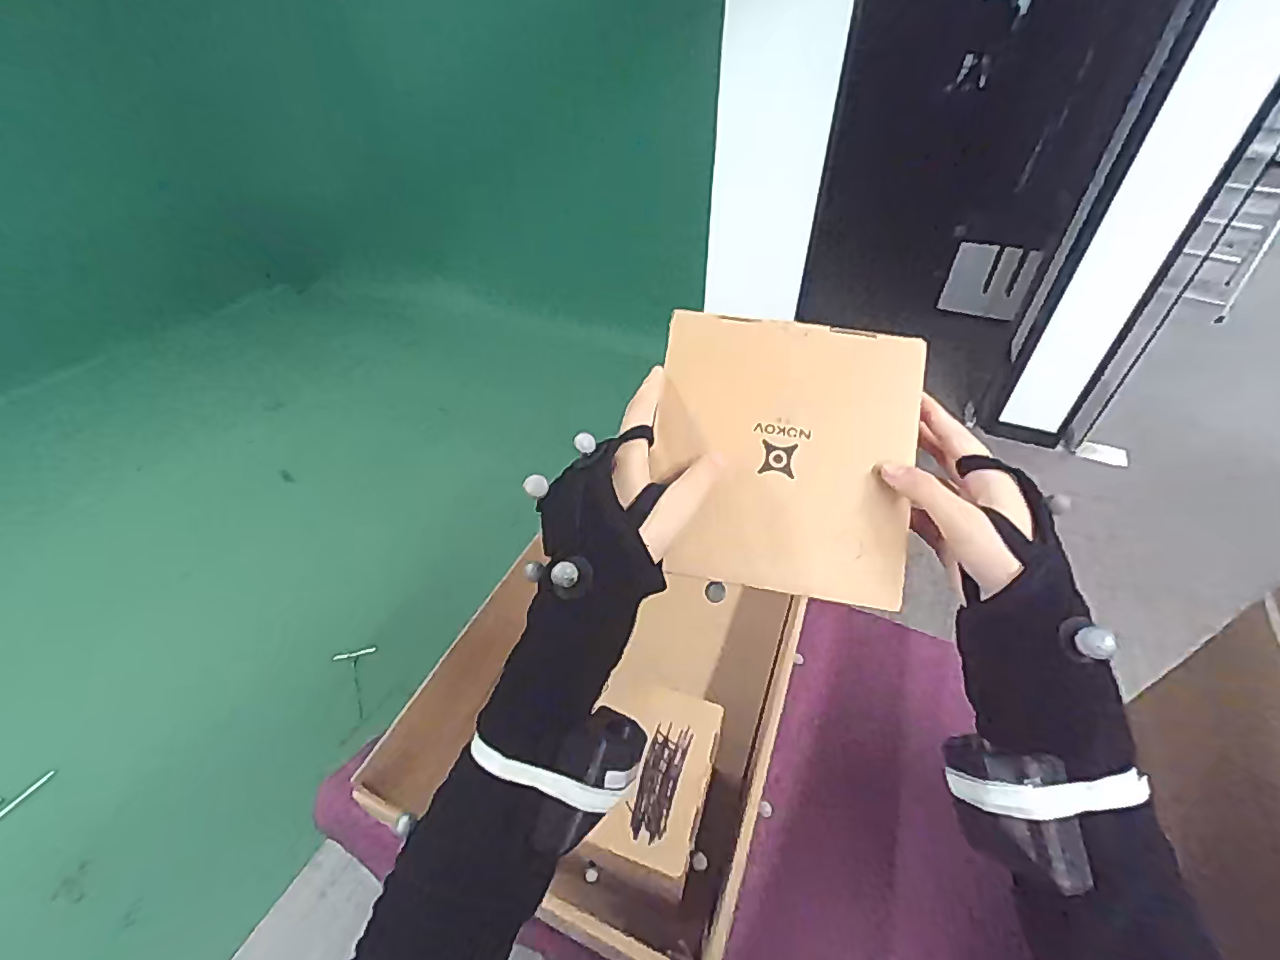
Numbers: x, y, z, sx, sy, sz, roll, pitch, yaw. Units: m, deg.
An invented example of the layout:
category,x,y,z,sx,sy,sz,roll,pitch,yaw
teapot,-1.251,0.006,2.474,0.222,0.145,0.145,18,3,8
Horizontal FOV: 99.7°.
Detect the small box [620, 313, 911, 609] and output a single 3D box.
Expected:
category,x,y,z,sx,sy,sz,roll,pitch,yaw
small box,0.089,-0.005,0.425,0.168,0.176,0.179,9,81,7
